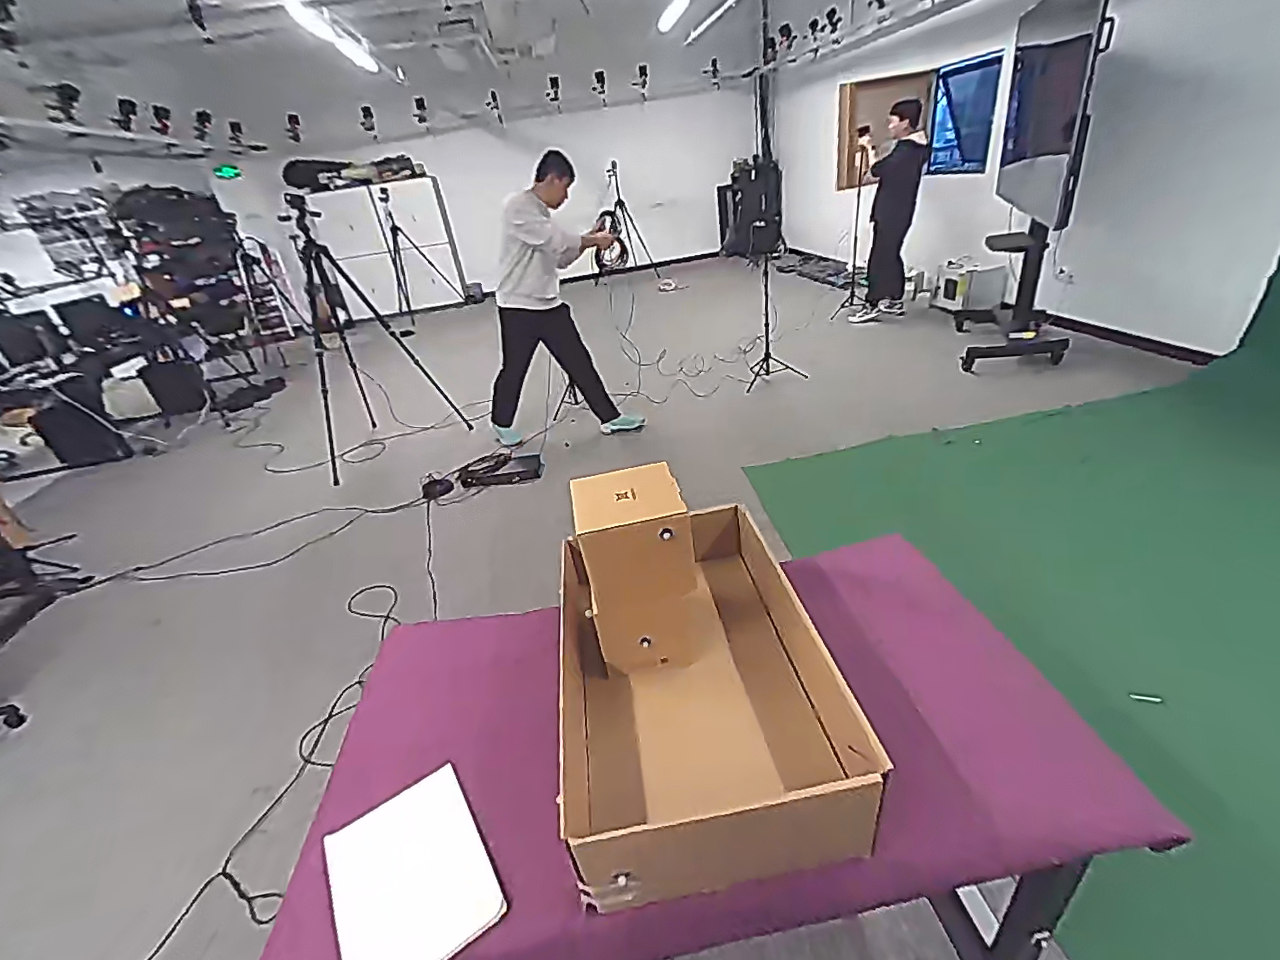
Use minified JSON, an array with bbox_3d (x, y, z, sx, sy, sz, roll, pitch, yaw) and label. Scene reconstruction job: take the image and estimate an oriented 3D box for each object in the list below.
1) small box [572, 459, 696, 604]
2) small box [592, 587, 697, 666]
[{"bbox_3d":[-0.011,0.088,0.919,0.179,0.176,0.168,-11,31,-4],"label":"small box"},{"bbox_3d":[0.005,0.224,1.005,0.168,0.176,0.179,-10,32,-2],"label":"small box"}]
